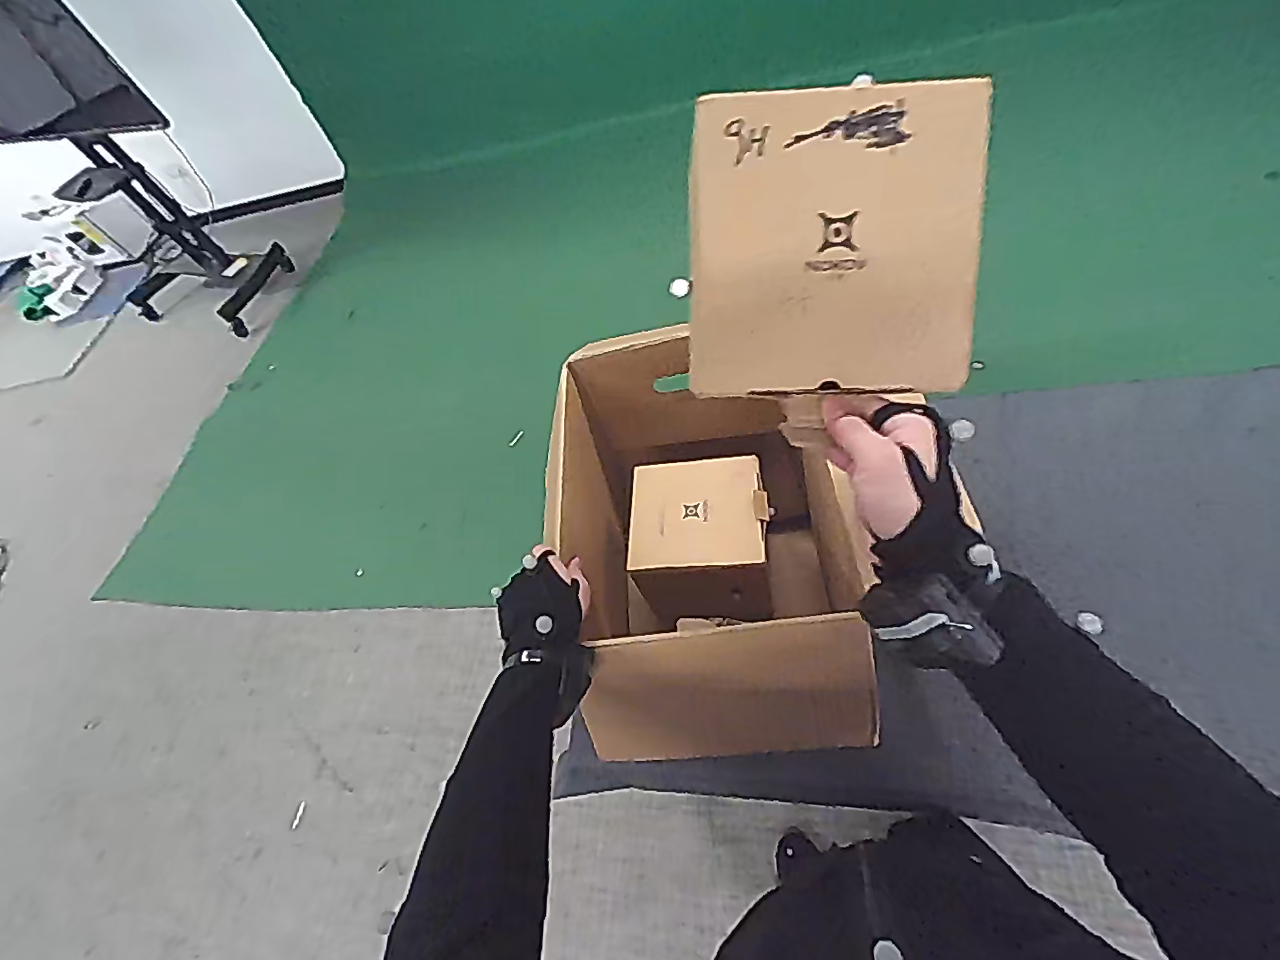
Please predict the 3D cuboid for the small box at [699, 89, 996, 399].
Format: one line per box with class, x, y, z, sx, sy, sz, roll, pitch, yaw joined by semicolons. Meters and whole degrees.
small box;0.131;-0.157;0.412;0.168;0.179;0.176;0;12;5
